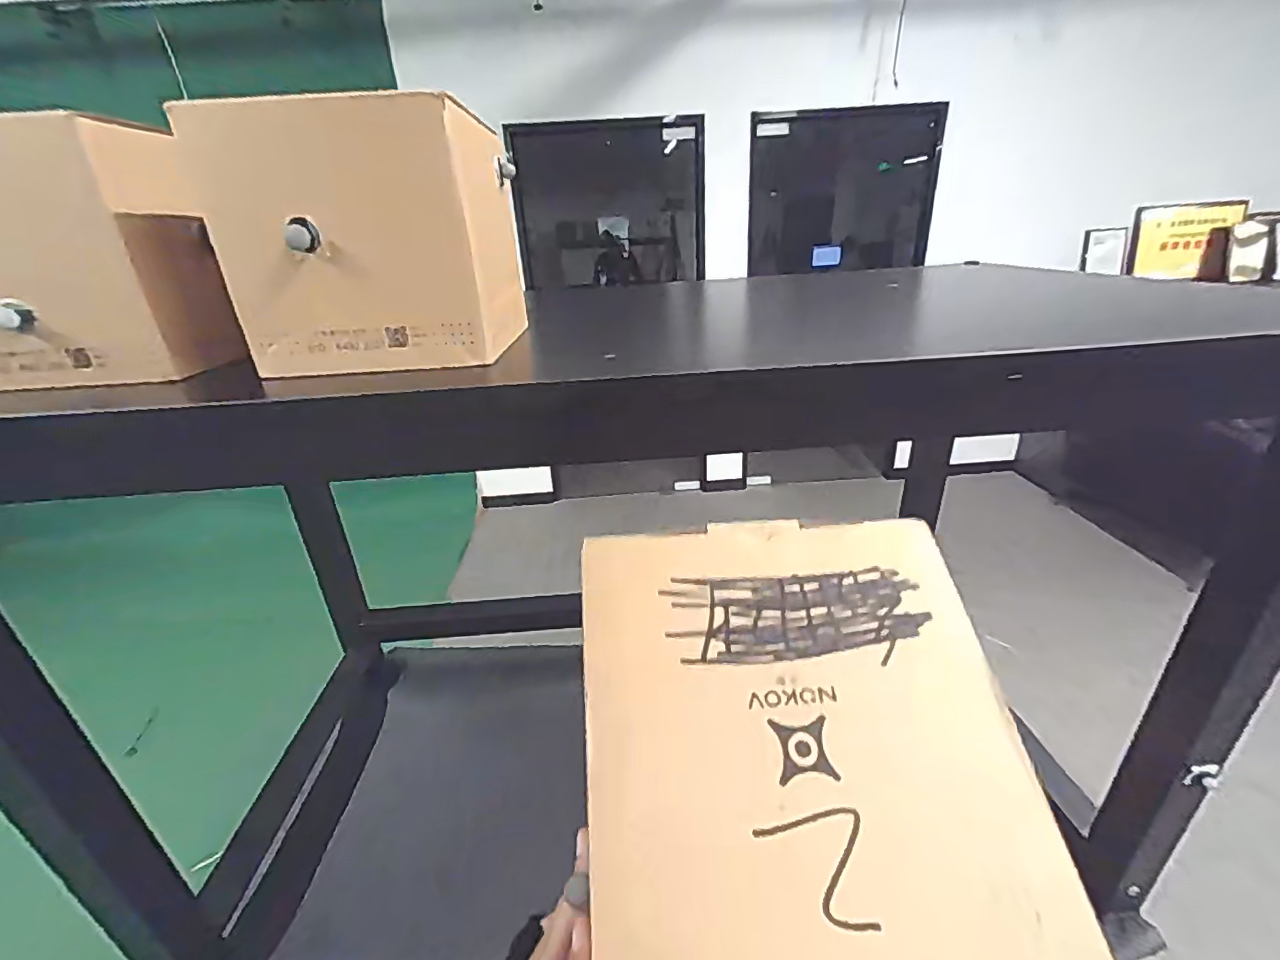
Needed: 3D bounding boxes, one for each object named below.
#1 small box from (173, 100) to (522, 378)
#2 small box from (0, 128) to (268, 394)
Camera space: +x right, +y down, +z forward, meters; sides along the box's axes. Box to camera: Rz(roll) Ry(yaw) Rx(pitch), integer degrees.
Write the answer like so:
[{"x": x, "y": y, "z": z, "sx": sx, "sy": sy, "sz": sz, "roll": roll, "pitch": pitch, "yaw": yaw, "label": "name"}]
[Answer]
[{"x": -0.198, "y": -0.180, "z": 0.434, "sx": 0.168, "sy": 0.176, "sz": 0.179, "roll": -4, "pitch": 24, "yaw": 0, "label": "small box"}, {"x": -0.423, "y": -0.173, "z": 0.441, "sx": 0.168, "sy": 0.176, "sz": 0.179, "roll": -4, "pitch": 25, "yaw": -1, "label": "small box"}]
